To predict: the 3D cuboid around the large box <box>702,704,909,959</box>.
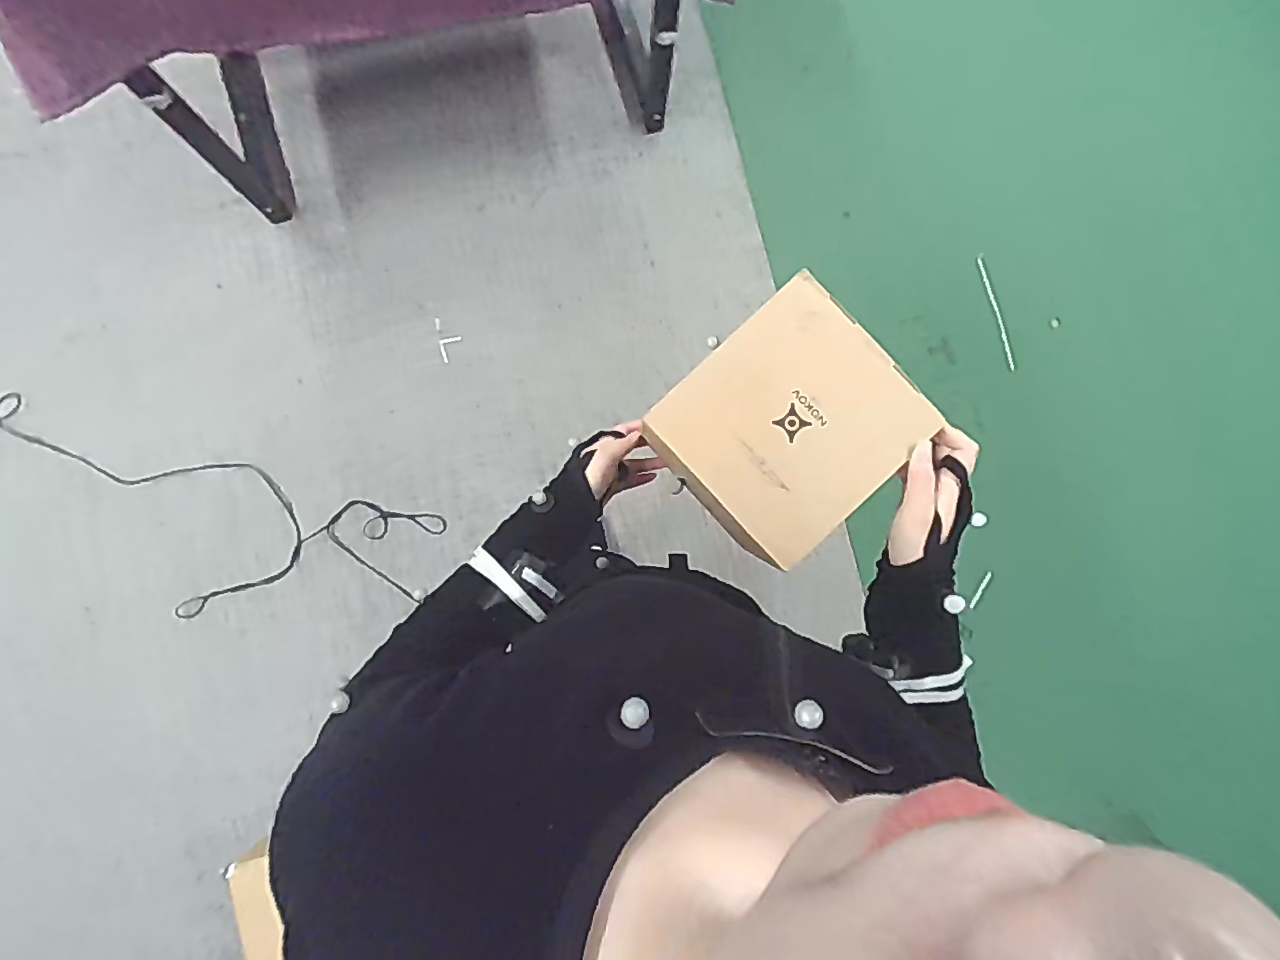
[{"bbox_3d":[0.378,0.836,1.328,0.320,0.320,0.408,-15,87,-6],"label":"large box"}]
